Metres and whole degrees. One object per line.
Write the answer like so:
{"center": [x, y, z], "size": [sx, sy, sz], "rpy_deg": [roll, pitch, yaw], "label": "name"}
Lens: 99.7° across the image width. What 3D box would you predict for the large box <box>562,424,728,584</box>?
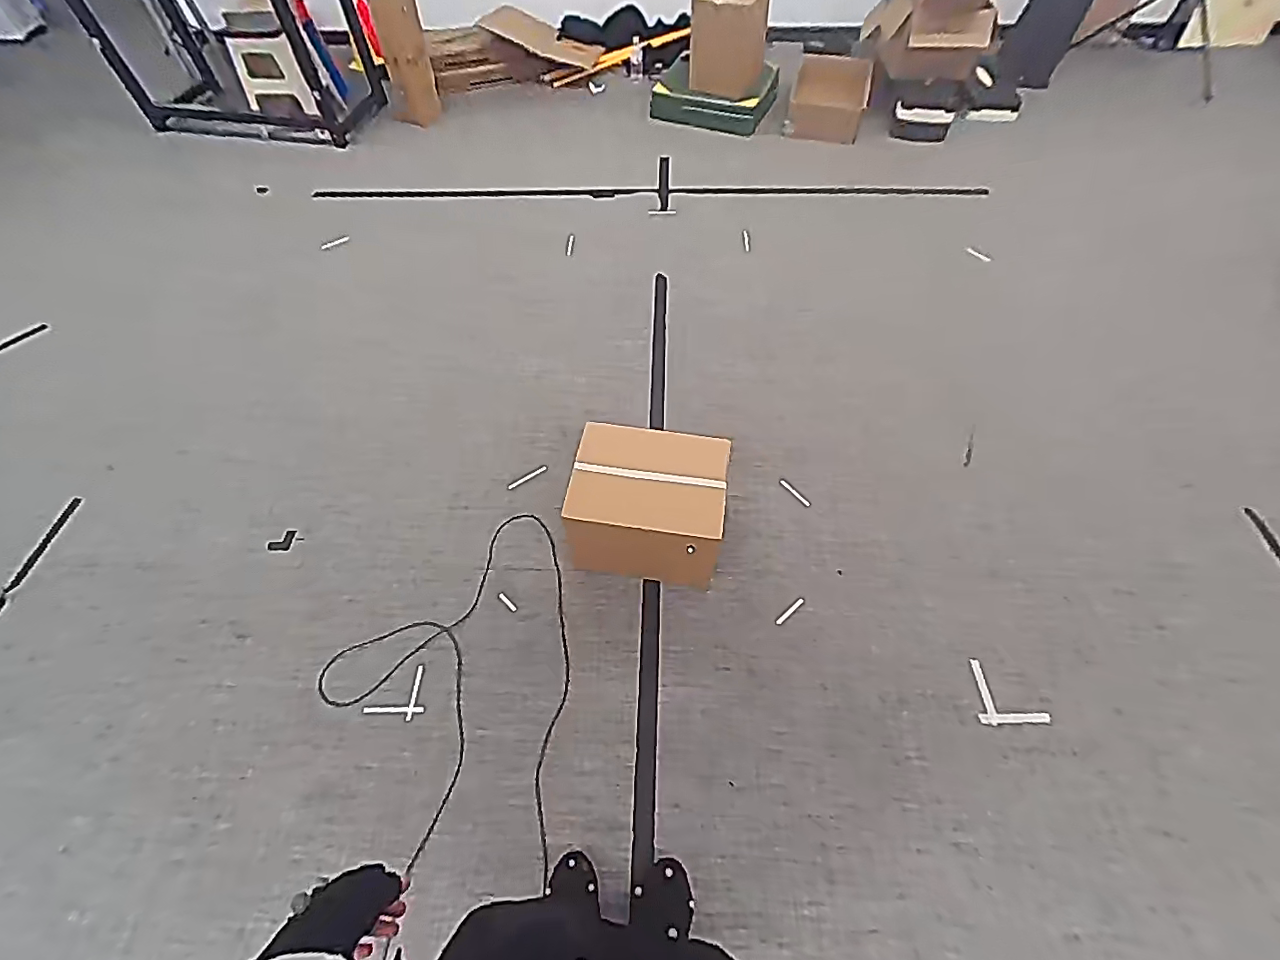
{"center": [0.024, 0.076, 1.528], "size": [0.408, 0.320, 0.320], "rpy_deg": [8, 57, 5], "label": "large box"}
